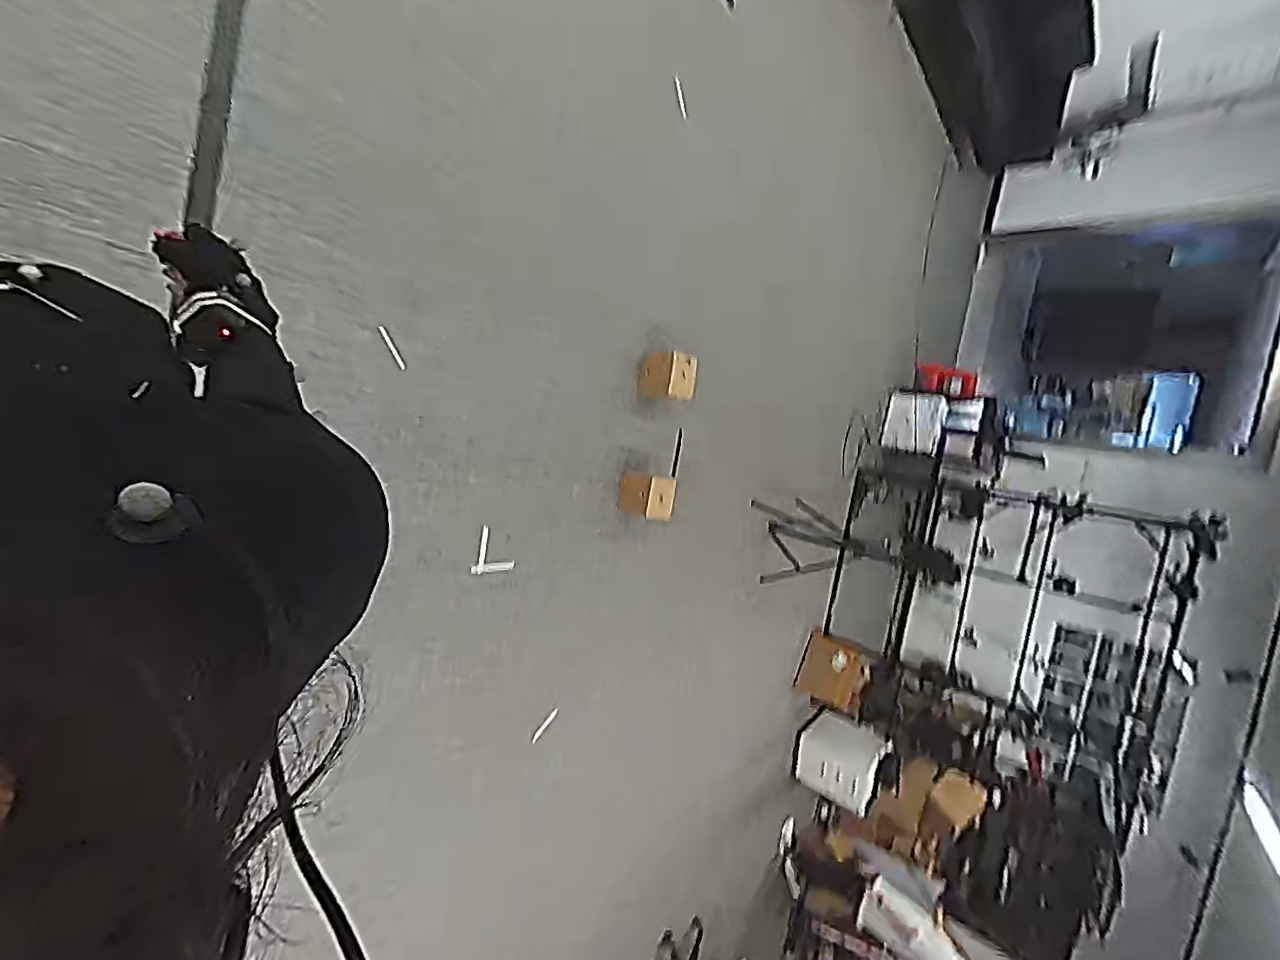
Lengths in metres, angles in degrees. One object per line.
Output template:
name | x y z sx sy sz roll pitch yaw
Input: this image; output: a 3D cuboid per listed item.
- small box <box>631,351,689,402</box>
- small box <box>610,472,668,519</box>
small box | 0.081 -0.438 2.287 0.168 0.176 0.179 4 97 -50
small box | -0.008 0.064 2.324 0.168 0.176 0.179 5 98 -48
